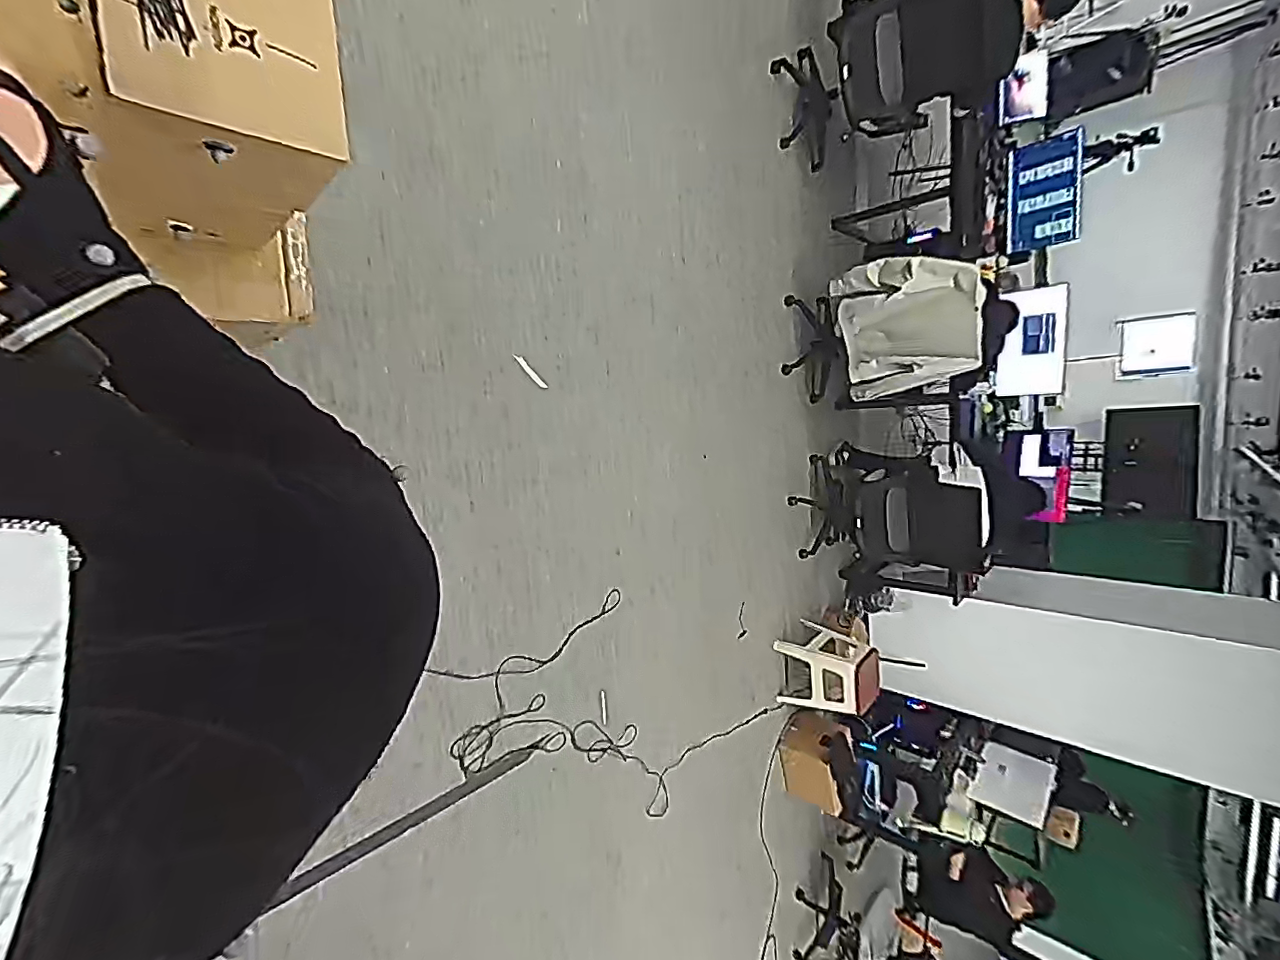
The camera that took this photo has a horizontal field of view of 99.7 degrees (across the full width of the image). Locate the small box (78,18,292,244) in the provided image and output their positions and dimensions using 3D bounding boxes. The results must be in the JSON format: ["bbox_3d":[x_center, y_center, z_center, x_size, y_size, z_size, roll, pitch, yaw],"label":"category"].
[{"bbox_3d":[-0.534,-0.401,0.636,0.168,0.176,0.179,-10,101,-44],"label":"small box"}]

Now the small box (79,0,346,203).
[{"bbox_3d":[-0.413,-0.392,0.523,0.179,0.176,0.168,-10,100,-46],"label":"small box"}]
